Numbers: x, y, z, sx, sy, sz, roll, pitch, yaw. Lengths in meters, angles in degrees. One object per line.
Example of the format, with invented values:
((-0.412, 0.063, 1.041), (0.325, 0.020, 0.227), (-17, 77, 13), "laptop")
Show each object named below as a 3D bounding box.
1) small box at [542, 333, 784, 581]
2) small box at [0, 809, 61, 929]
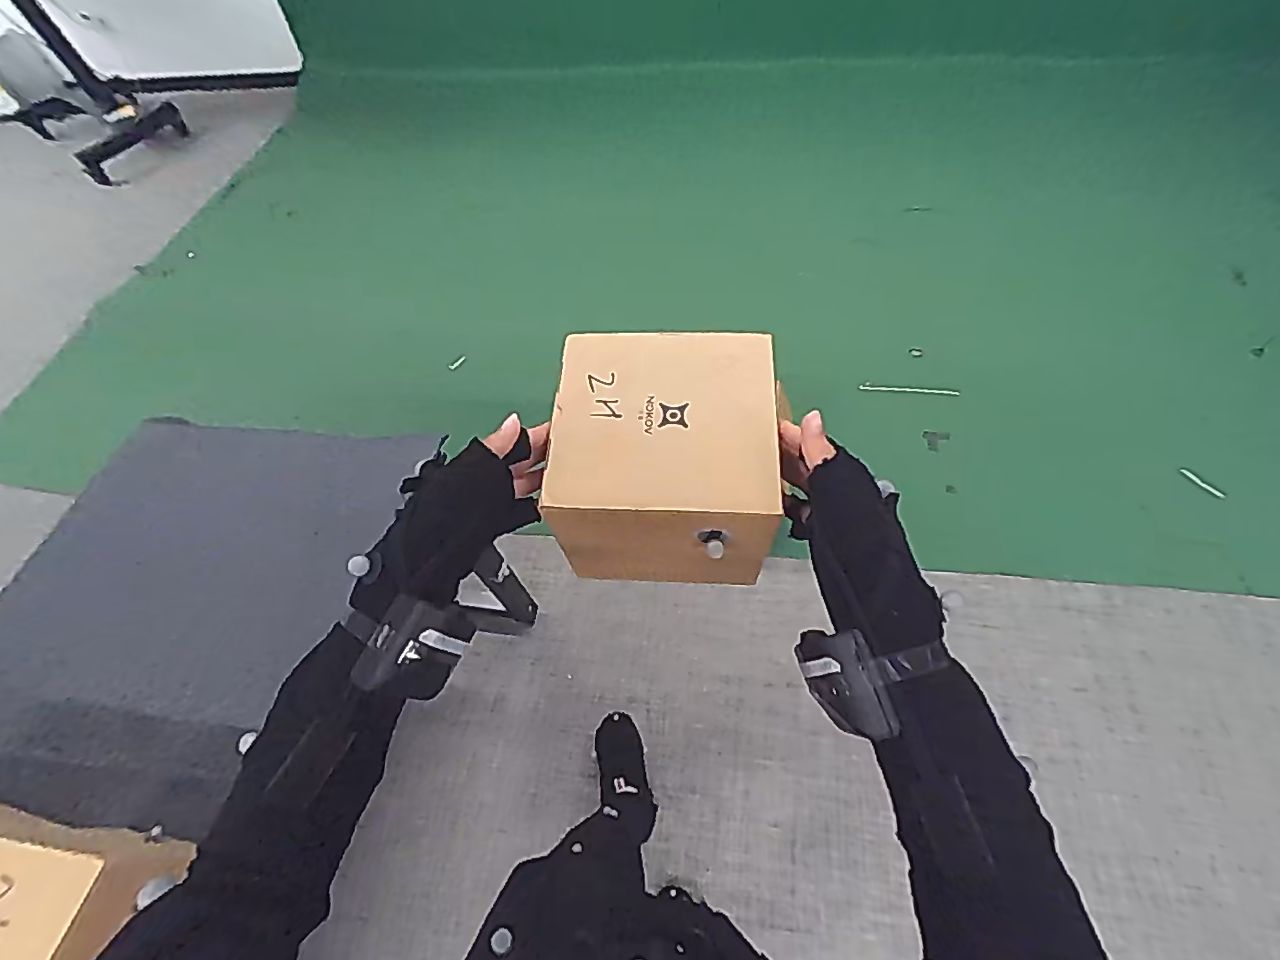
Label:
((0.026, -0.013, 0.491), (0.179, 0.176, 0.168), (1, 62, 6), "small box")
((-0.776, 0.427, 0.545), (0.179, 0.176, 0.168), (8, 58, 11), "small box")
